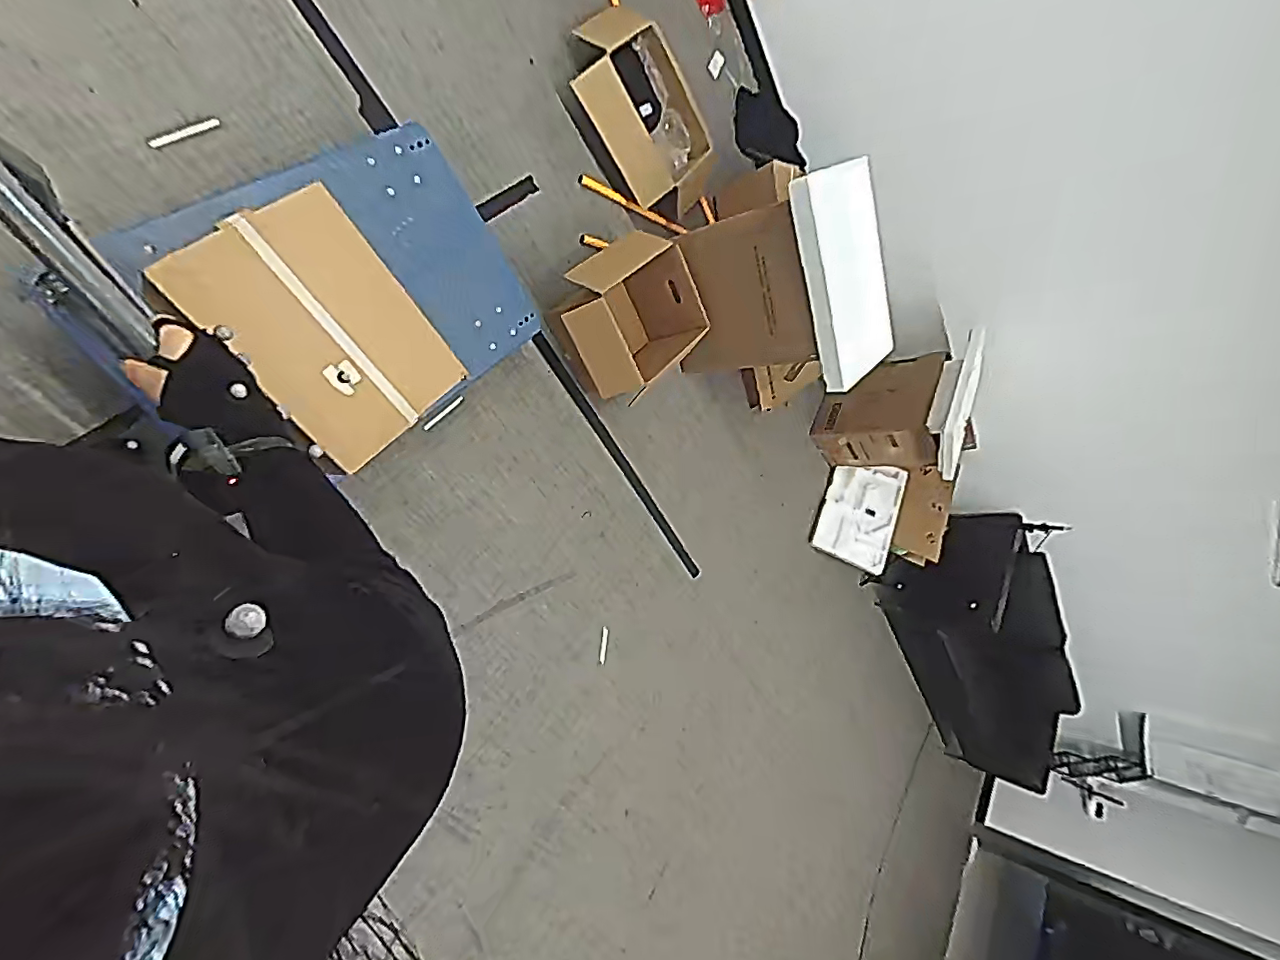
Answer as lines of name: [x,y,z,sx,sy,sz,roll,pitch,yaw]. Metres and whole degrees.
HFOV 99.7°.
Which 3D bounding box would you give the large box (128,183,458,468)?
large box: [-0.654,-0.269,1.049,0.320,0.320,0.408,-52,125,-30]
